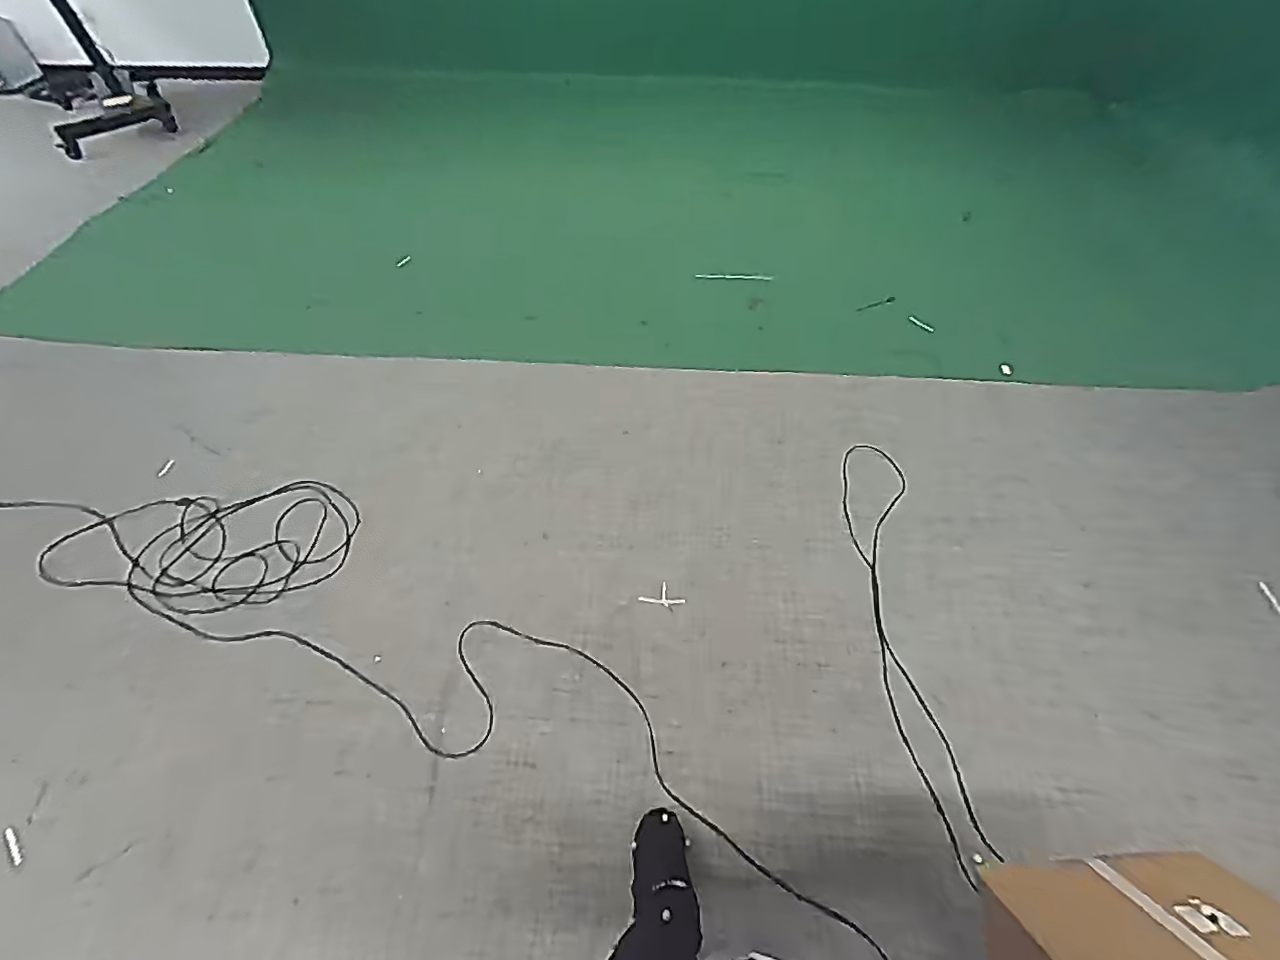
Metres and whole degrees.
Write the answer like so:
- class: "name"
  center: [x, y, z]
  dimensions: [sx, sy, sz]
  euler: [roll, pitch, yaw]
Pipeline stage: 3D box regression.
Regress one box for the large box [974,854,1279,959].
- class: "large box"
  center: [0.635, 0.674, 0.563]
  dimensions: [0.320, 0.408, 0.320]
  euler: [-6, 82, 5]
